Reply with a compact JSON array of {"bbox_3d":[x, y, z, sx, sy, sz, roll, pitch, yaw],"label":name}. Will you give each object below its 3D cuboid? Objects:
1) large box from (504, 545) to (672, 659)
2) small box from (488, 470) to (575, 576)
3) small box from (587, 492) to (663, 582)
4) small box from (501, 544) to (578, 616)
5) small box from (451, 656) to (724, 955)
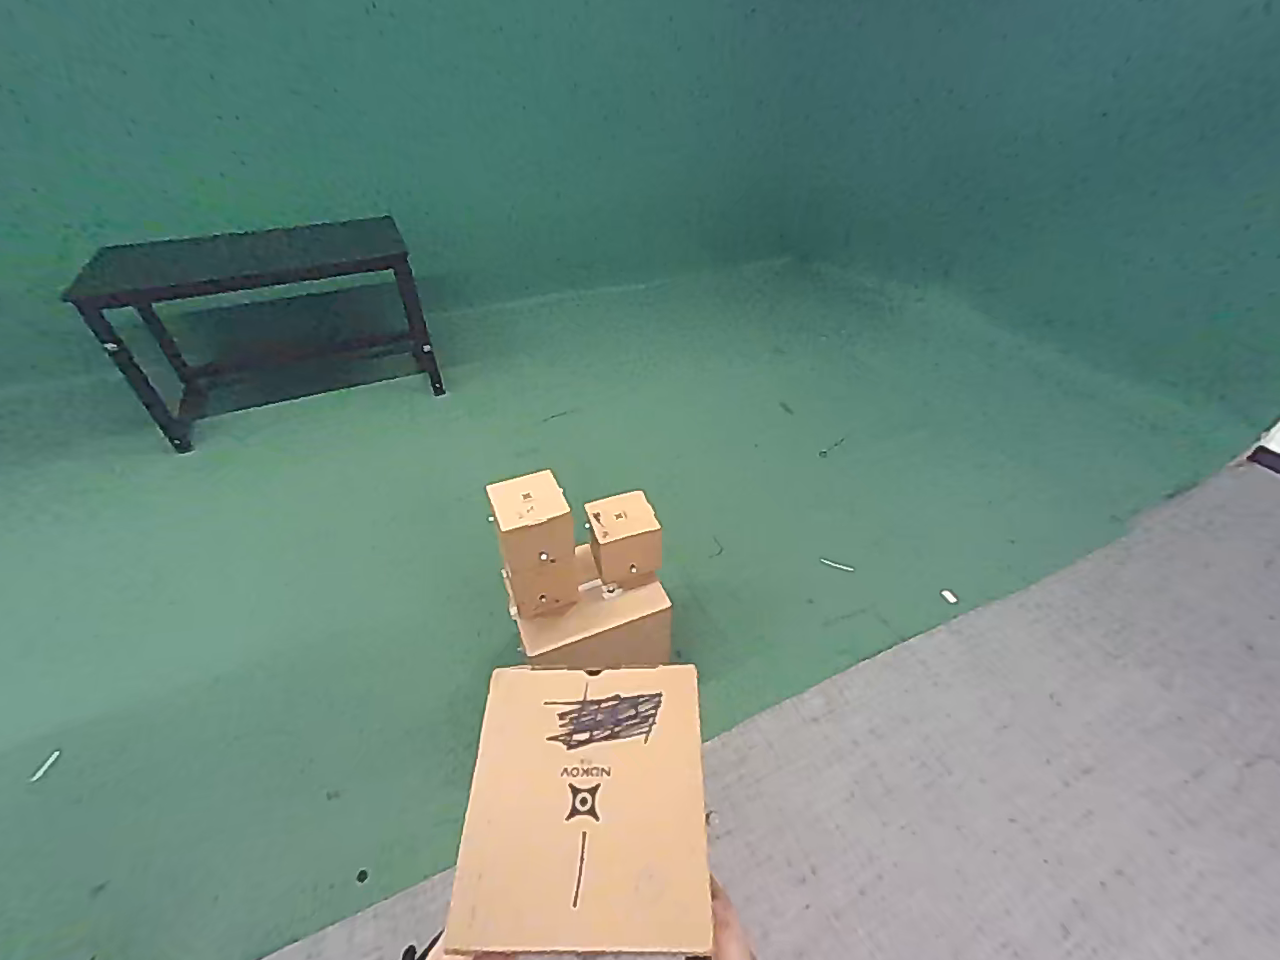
[{"bbox_3d":[-0.153,0.419,1.603,0.408,0.320,0.320,-15,43,-18],"label":"large box"},{"bbox_3d":[-0.267,0.106,1.343,0.168,0.176,0.179,-16,43,-18],"label":"small box"},{"bbox_3d":[-0.045,0.161,1.526,0.179,0.176,0.168,-12,41,-13],"label":"small box"},{"bbox_3d":[-0.271,0.231,1.450,0.168,0.176,0.179,-15,43,-18],"label":"small box"},{"bbox_3d":[-0.026,0.259,0.431,0.168,0.176,0.179,-2,49,4],"label":"small box"}]
